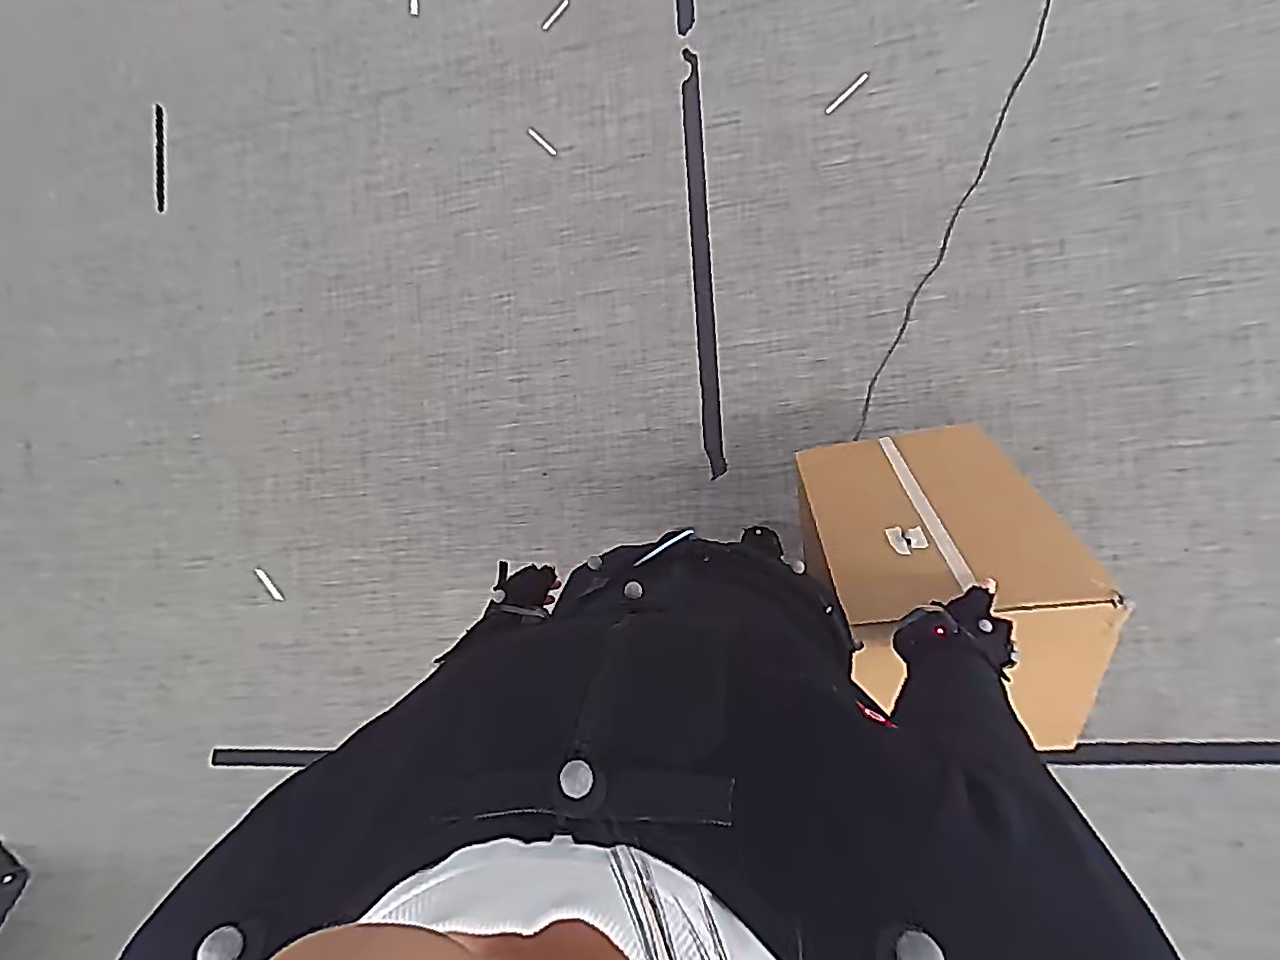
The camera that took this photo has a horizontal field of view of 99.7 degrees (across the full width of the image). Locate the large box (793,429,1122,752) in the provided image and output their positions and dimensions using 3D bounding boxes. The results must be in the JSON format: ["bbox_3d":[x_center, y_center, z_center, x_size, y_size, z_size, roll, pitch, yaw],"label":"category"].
[{"bbox_3d":[0.450,0.168,0.885,0.320,0.408,0.320,-9,125,12],"label":"large box"}]
